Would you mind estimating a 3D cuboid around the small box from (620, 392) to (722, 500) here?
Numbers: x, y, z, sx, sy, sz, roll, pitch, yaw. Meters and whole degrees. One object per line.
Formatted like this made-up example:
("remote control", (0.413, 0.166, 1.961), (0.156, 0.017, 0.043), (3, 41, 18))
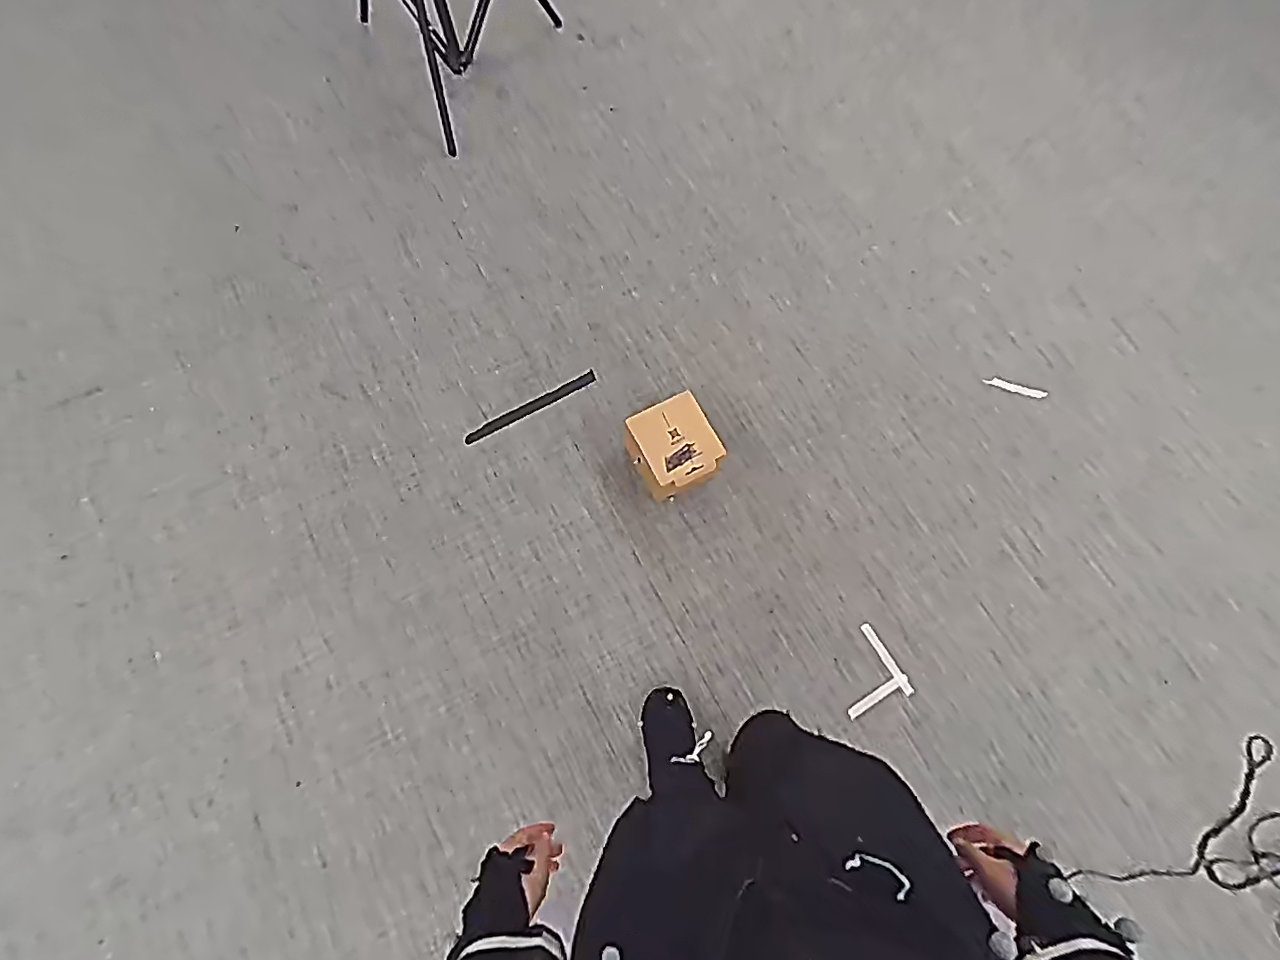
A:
("small box", (0.067, -0.068, 1.249), (0.168, 0.176, 0.179), (-27, 76, -9))
